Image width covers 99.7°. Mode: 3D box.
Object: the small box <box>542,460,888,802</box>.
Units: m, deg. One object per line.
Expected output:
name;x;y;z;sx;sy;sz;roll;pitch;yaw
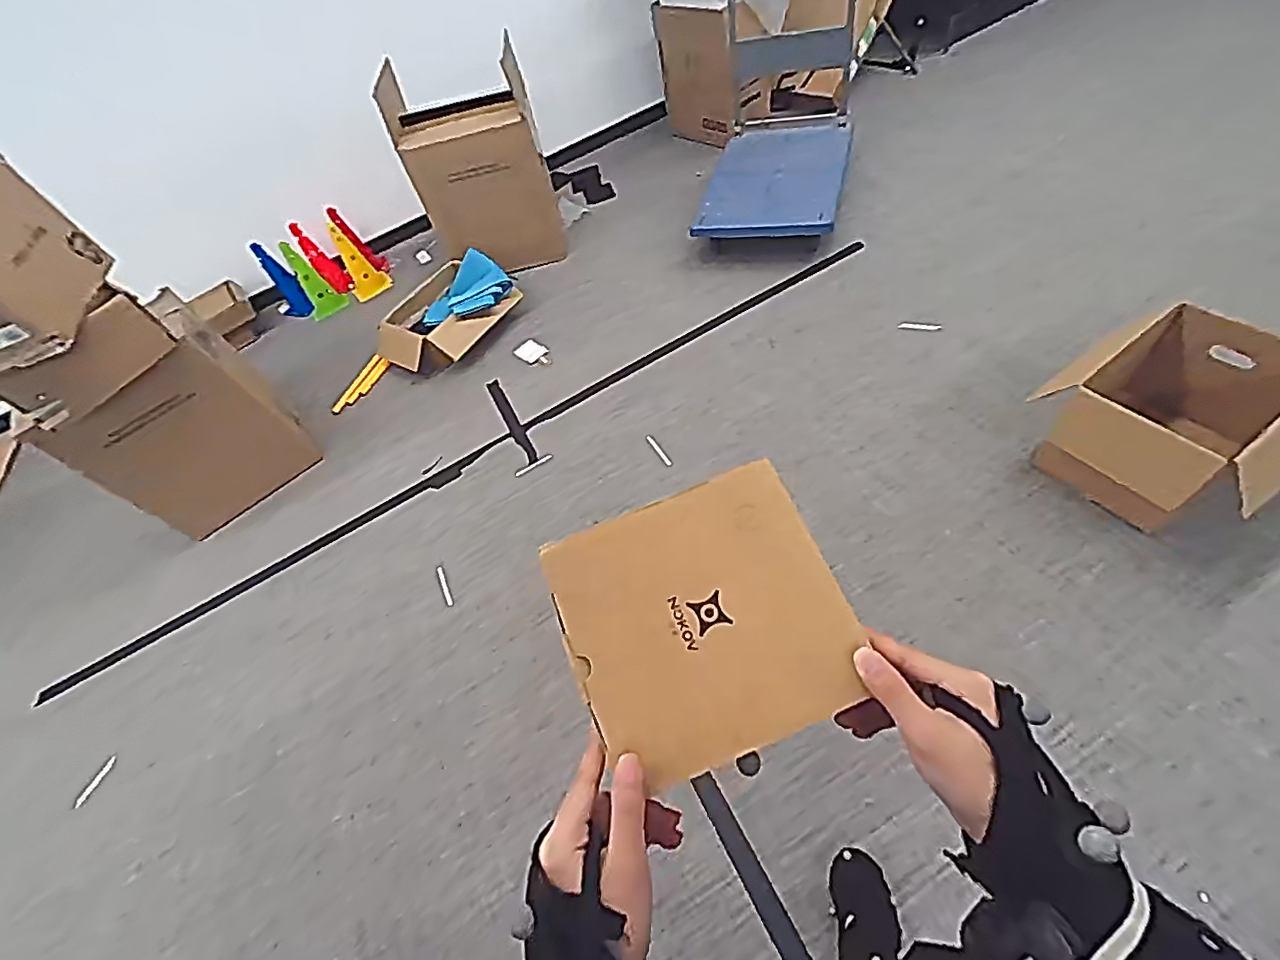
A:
small box;0.046;0.112;0.419;0.179;0.176;0.168;-22;69;-3
